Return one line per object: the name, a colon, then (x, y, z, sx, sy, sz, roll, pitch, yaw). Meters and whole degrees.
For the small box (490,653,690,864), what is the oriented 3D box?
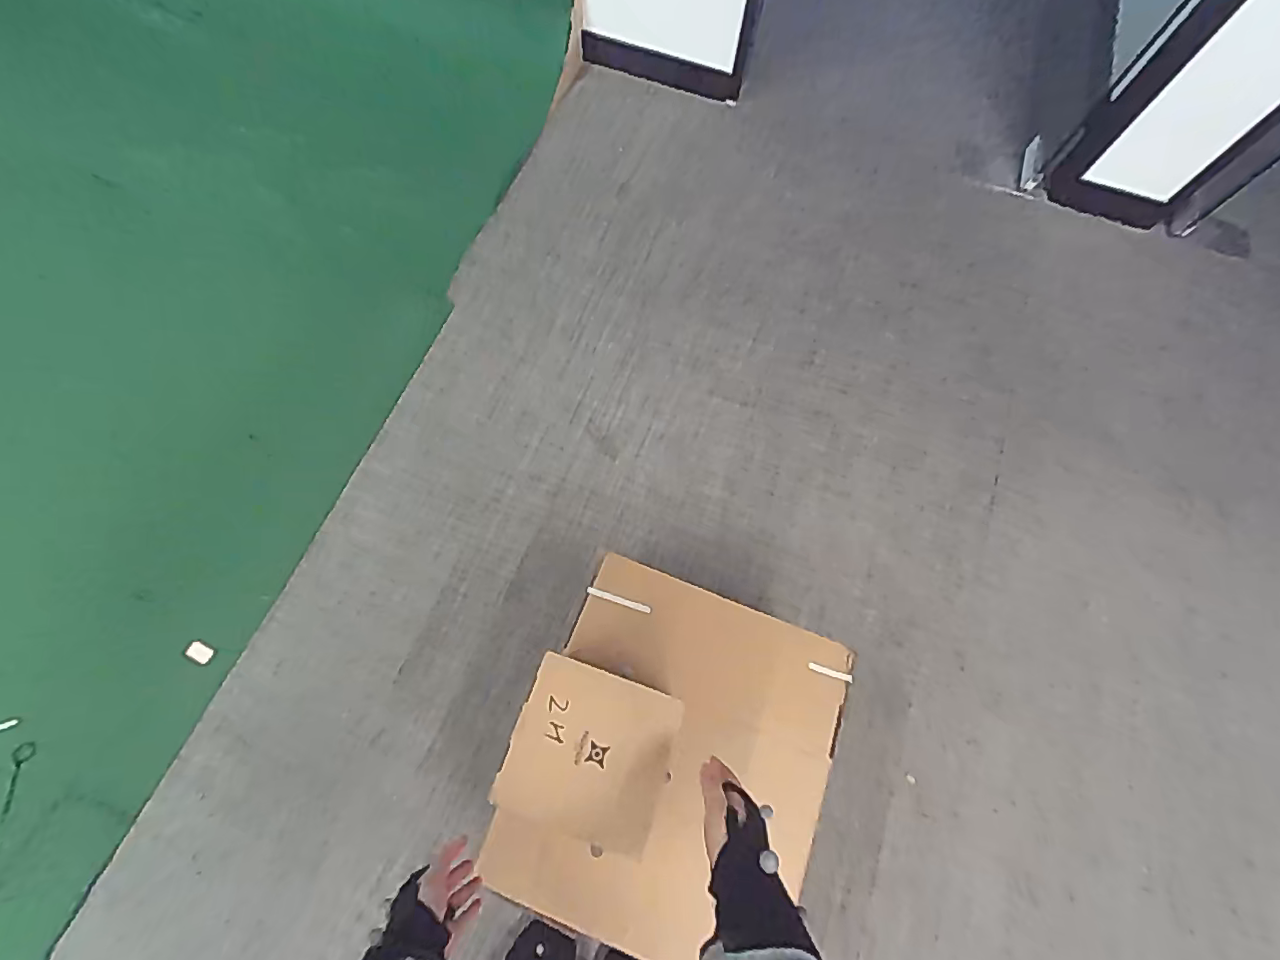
small box: (-0.054, 0.326, 0.665, 0.179, 0.176, 0.168, 19, 69, 5)
